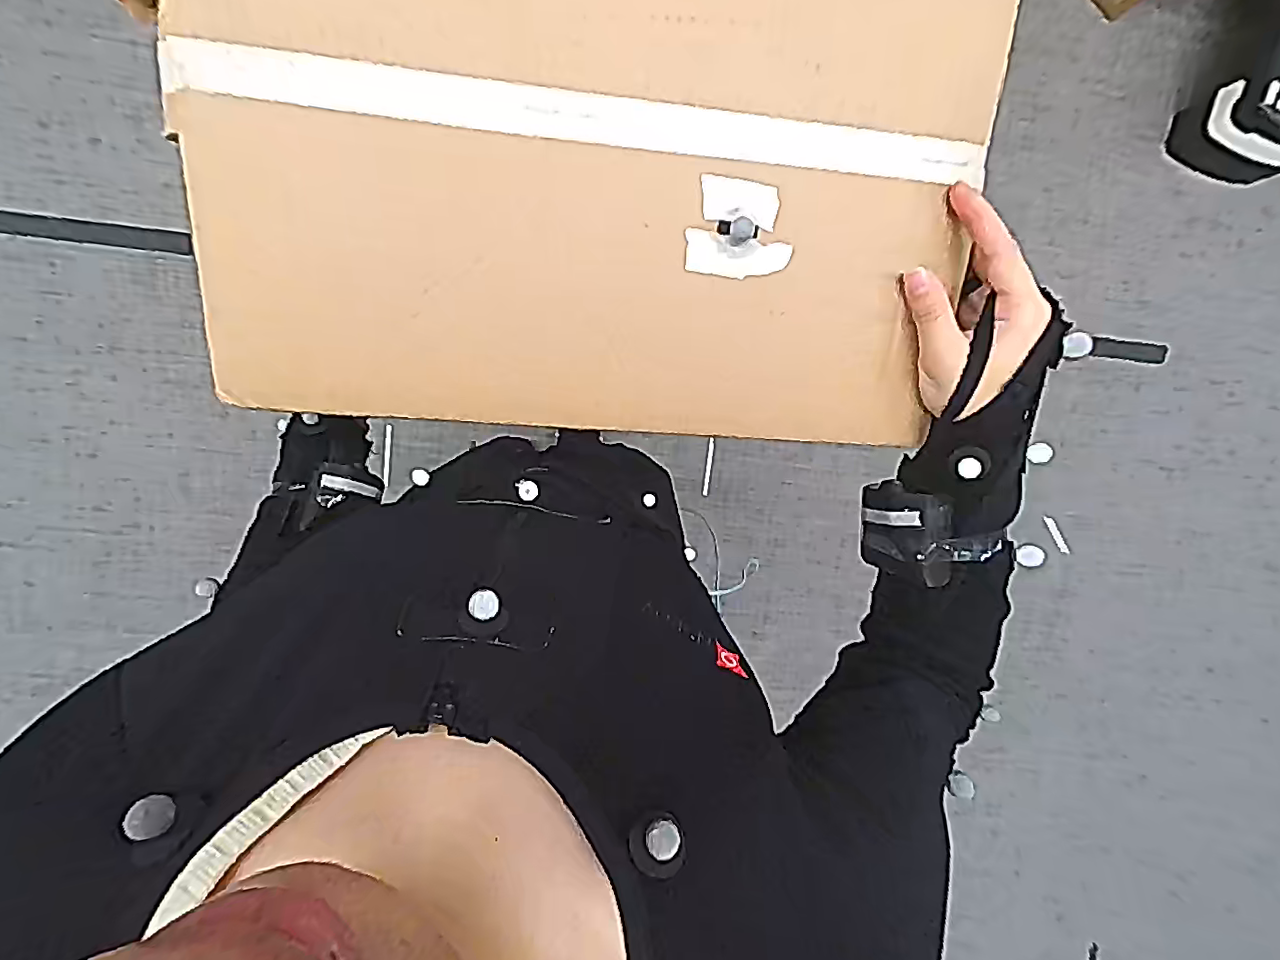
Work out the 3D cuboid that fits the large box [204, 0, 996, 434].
[{"bbox_3d":[-0.030,-0.219,0.430,0.408,0.320,0.320,2,105,-9],"label":"large box"}]
